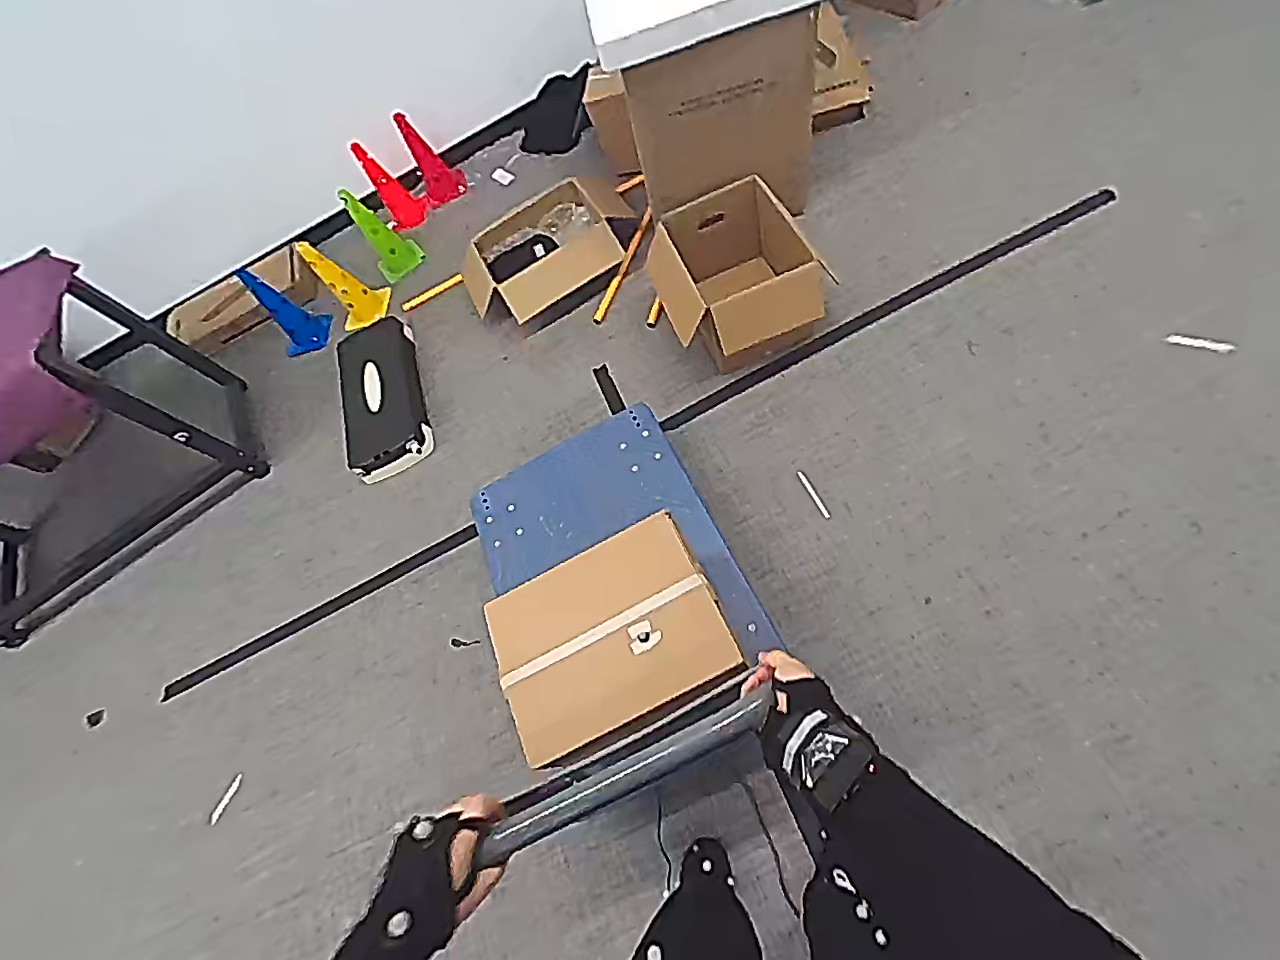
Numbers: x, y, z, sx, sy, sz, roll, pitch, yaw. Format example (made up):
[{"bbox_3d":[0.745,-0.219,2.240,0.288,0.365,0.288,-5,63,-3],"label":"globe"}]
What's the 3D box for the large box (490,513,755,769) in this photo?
[{"bbox_3d":[-0.023,0.338,1.102,0.408,0.320,0.320,-29,61,1],"label":"large box"}]
